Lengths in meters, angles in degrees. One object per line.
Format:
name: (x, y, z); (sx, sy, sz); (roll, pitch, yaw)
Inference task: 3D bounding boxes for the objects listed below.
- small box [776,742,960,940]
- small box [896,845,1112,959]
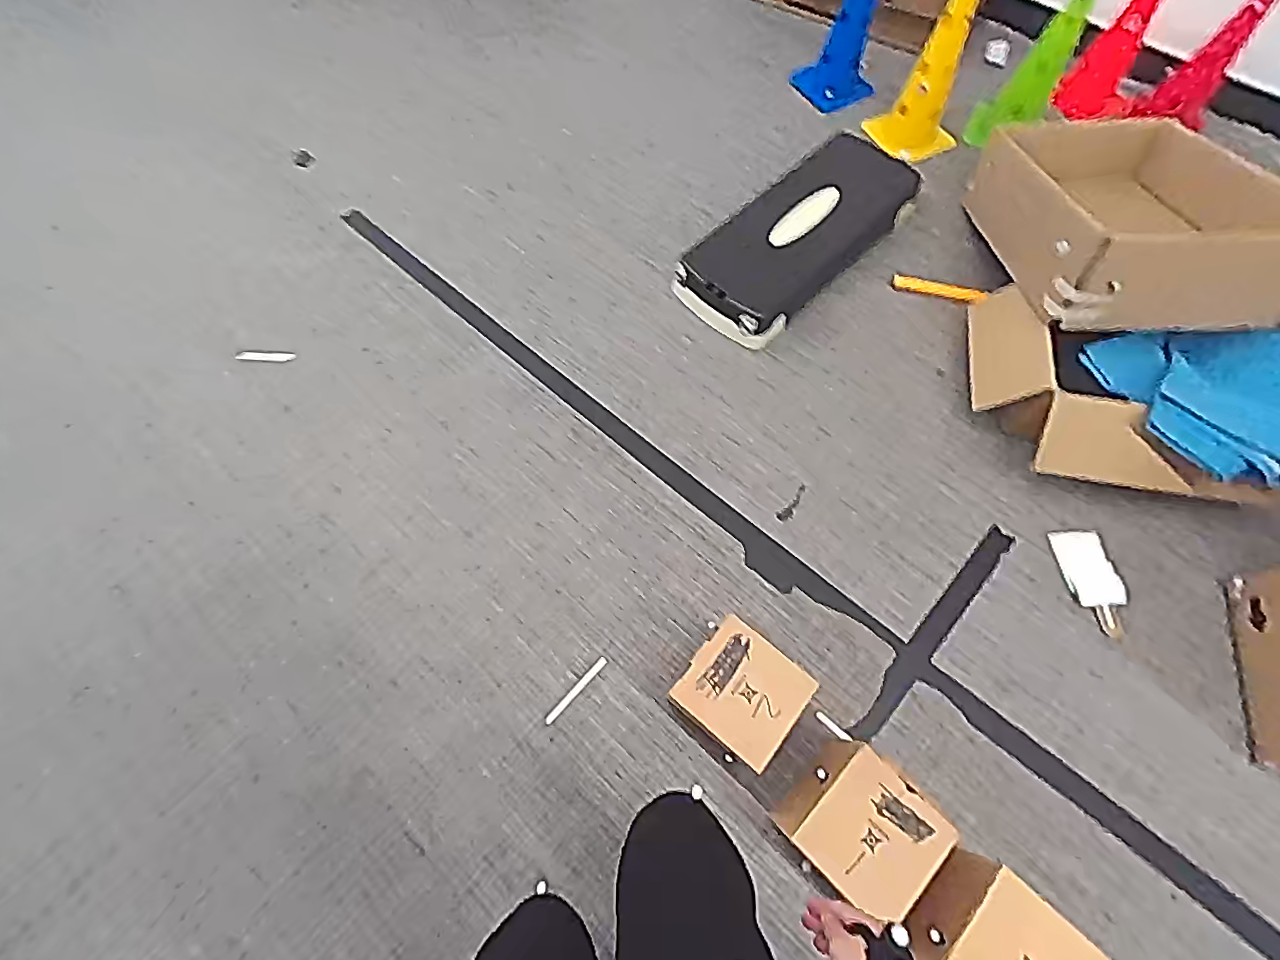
small box: (0.333, 0.529, 0.829); (0.168, 0.176, 0.179); (42, 75, 17)
small box: (0.504, 0.668, 0.772); (0.168, 0.176, 0.179); (40, 74, 16)
